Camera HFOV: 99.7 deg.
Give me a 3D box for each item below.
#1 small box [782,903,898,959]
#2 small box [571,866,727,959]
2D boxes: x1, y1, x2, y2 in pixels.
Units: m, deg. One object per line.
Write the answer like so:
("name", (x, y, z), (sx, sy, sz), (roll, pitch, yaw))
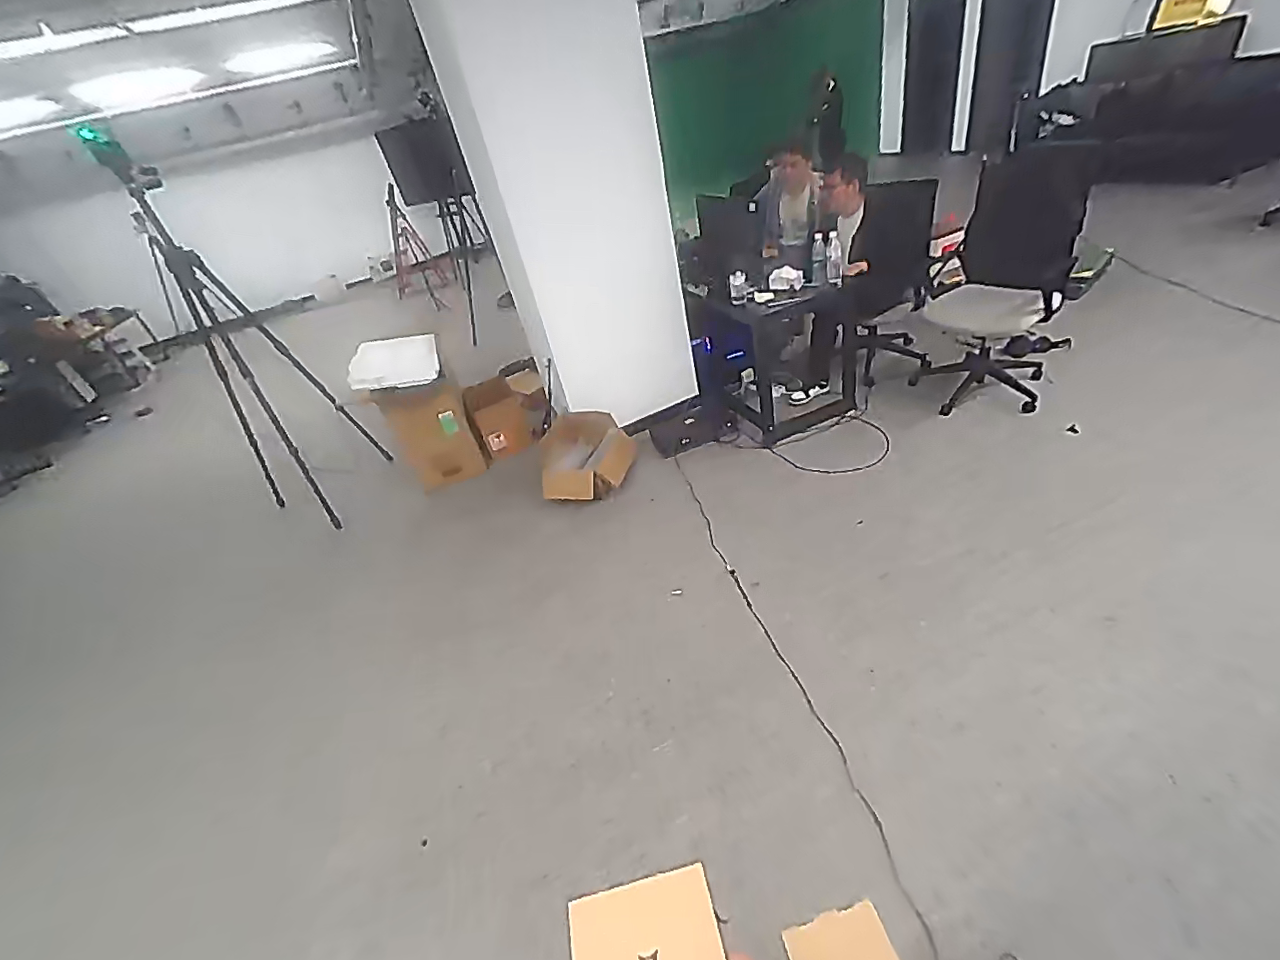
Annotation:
("small box", (0.346, 0.844, 0.878), (0.168, 0.176, 0.179), (-18, 33, -4))
("small box", (0.024, 0.590, 0.619), (0.168, 0.176, 0.179), (-14, 38, -4))
